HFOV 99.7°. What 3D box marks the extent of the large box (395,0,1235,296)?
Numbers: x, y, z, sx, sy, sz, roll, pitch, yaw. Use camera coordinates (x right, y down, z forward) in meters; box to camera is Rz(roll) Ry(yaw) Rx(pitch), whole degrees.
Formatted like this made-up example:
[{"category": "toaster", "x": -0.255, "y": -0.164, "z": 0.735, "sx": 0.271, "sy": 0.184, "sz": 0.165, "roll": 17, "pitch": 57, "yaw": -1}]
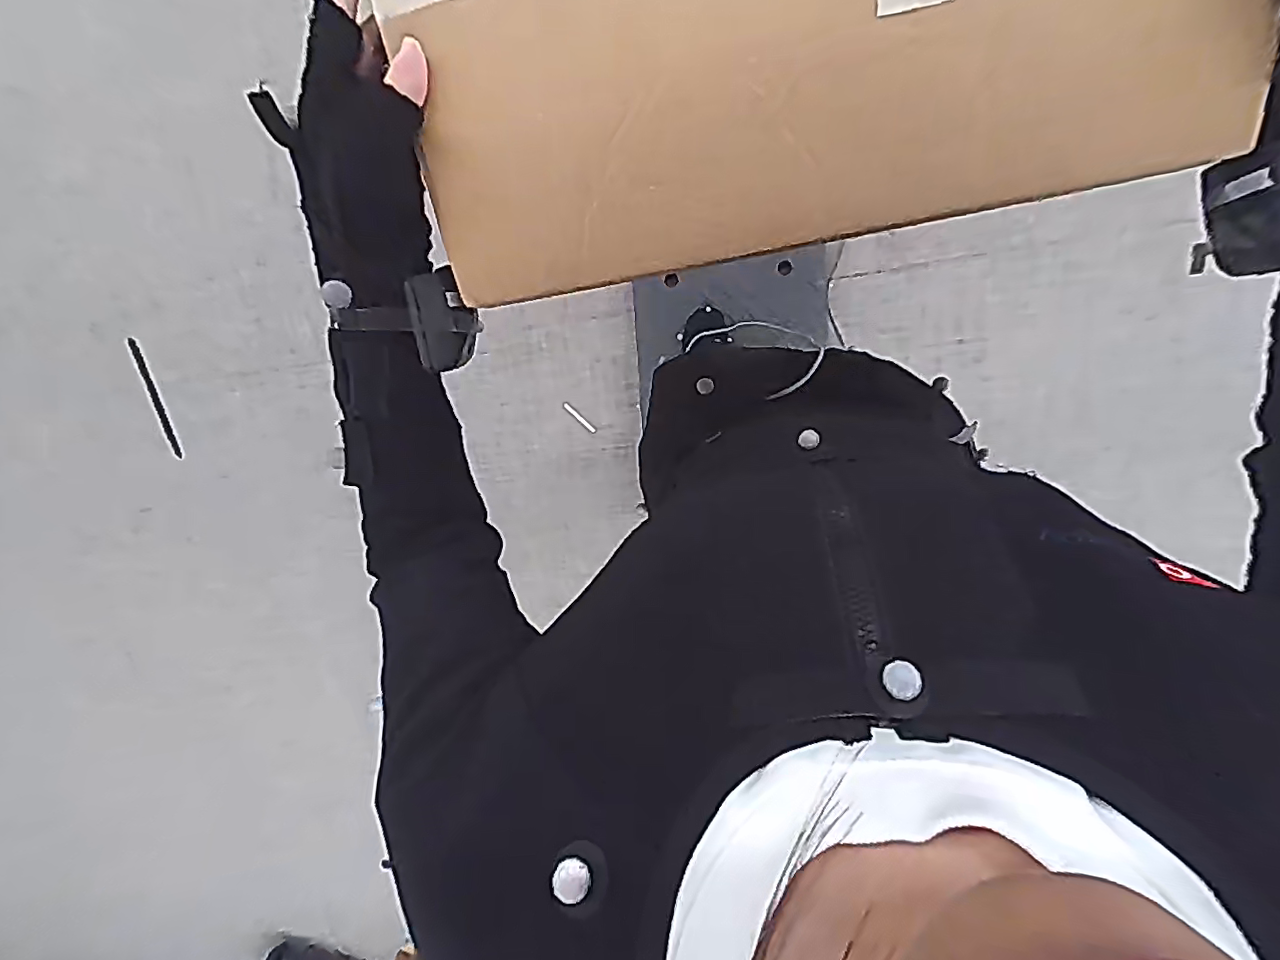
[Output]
[{"category": "large box", "x": 0.078, "y": -0.339, "z": 0.387, "sx": 0.408, "sy": 0.320, "sz": 0.320, "roll": -8, "pitch": 112, "yaw": 11}]
